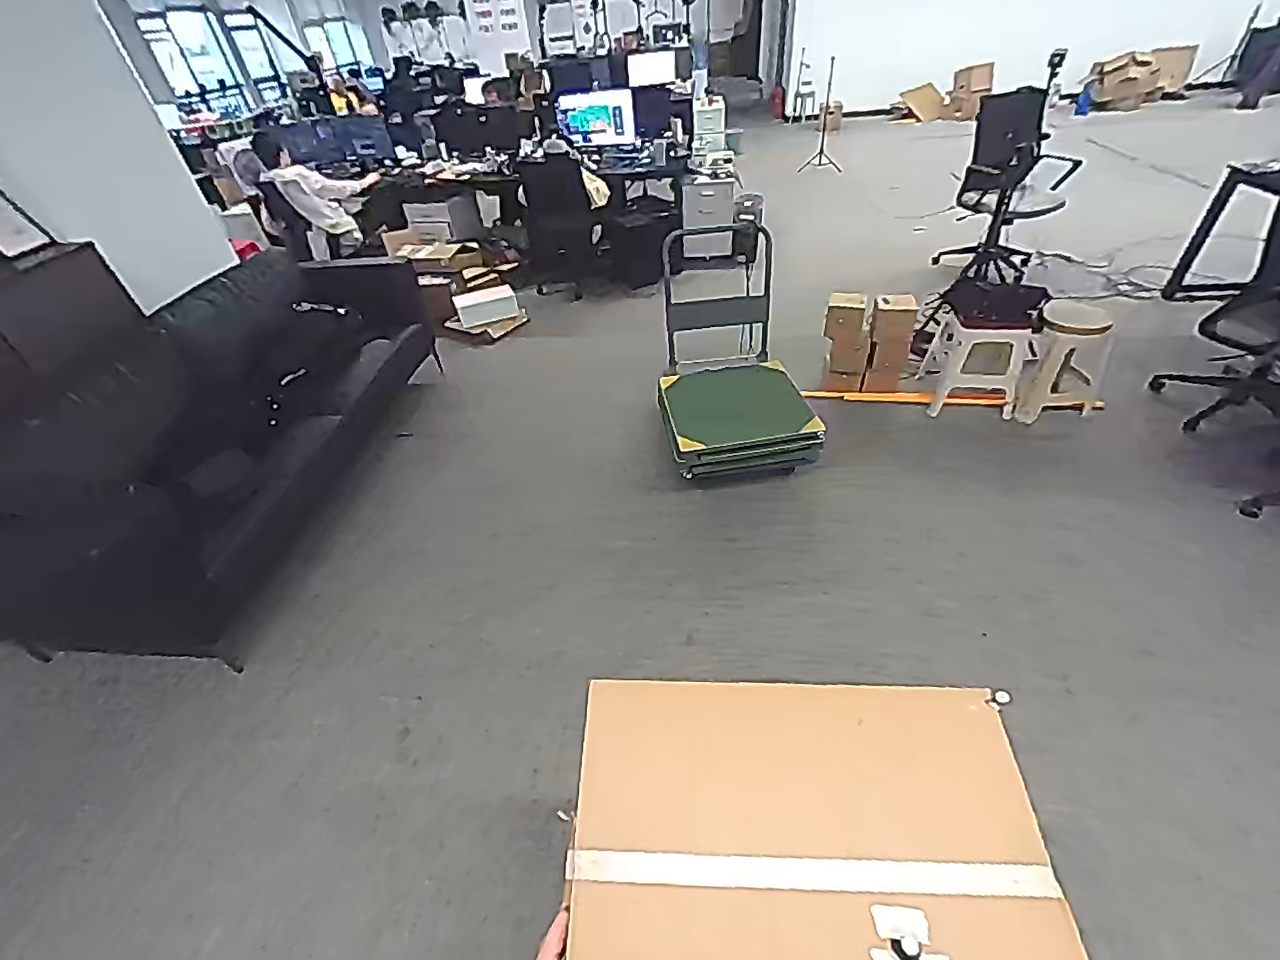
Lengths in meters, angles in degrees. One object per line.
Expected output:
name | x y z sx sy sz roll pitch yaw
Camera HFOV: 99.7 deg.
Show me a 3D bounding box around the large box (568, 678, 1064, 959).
large box | 0.143 0.421 0.591 0.408 0.320 0.320 0 54 2
